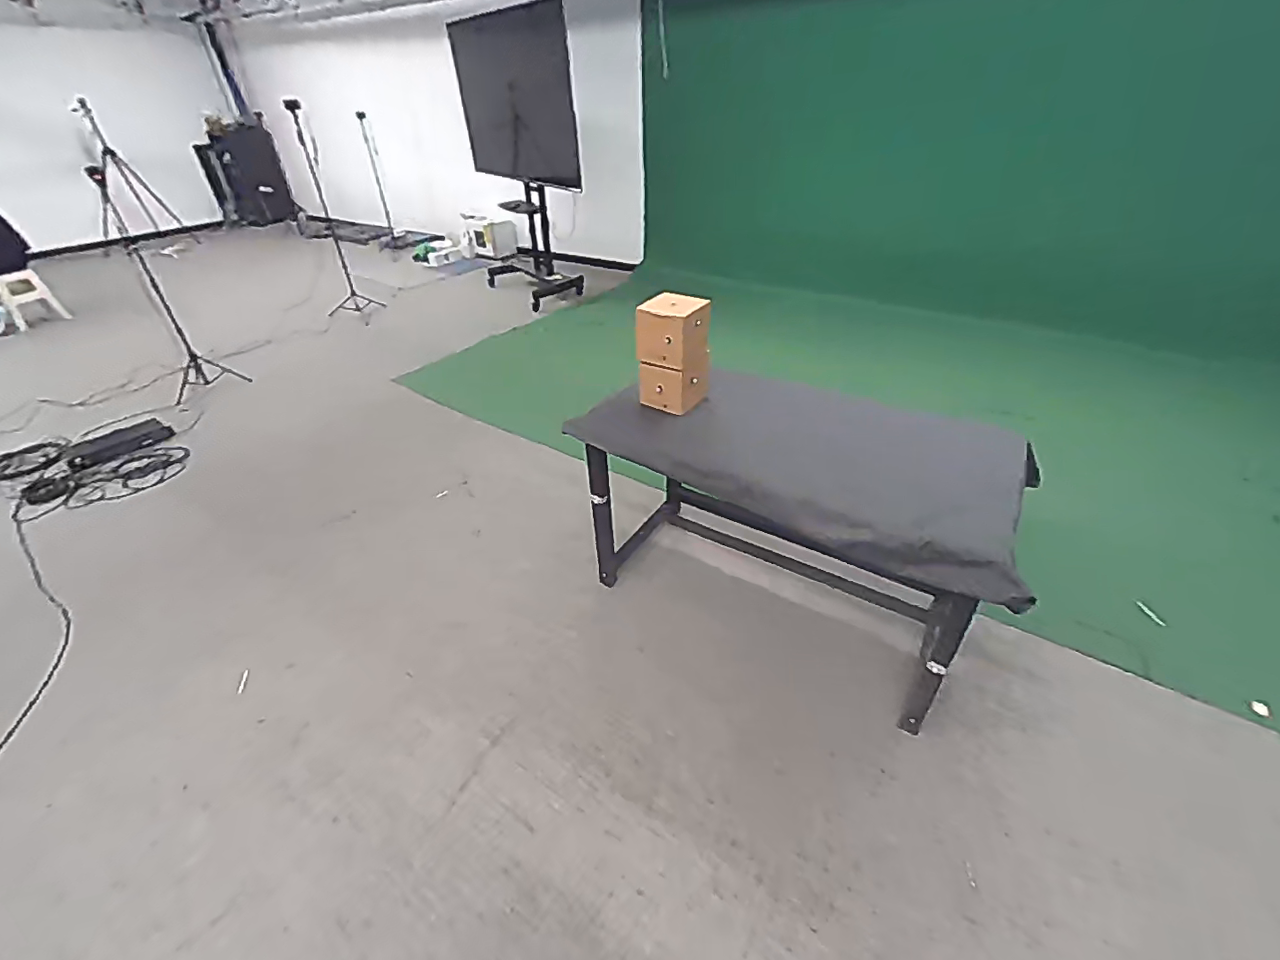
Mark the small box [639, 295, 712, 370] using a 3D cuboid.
[{"bbox_3d":[0.113,-0.460,1.691,0.168,0.176,0.179,21,41,26],"label":"small box"}]

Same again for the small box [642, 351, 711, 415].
[{"bbox_3d":[0.123,-0.336,1.796,0.168,0.176,0.179,23,43,28],"label":"small box"}]
